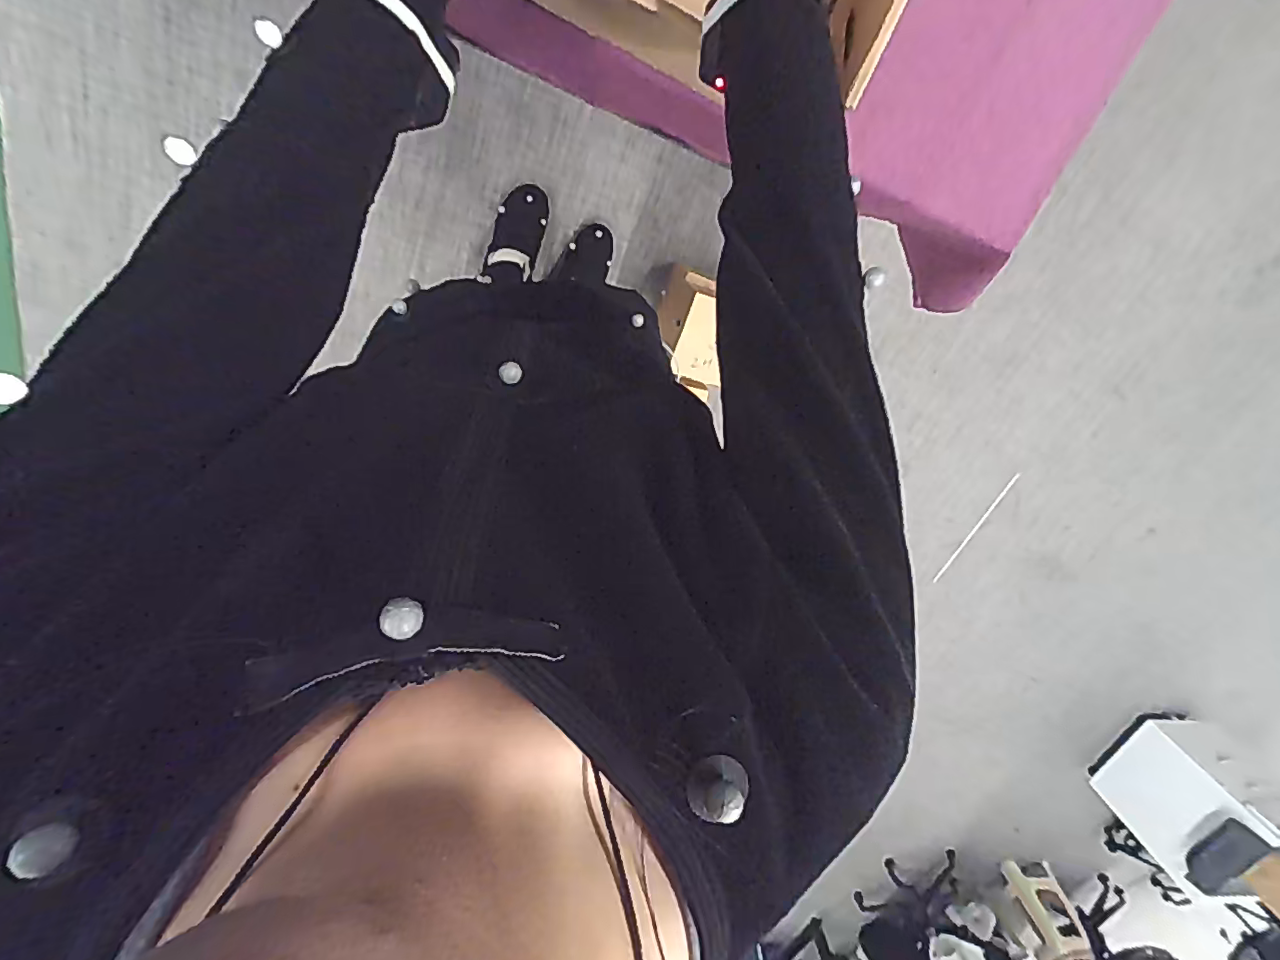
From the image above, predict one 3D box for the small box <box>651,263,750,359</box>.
[{"bbox_3d":[0.143,-0.426,1.346,0.179,0.176,0.168,15,116,-16],"label":"small box"}]
